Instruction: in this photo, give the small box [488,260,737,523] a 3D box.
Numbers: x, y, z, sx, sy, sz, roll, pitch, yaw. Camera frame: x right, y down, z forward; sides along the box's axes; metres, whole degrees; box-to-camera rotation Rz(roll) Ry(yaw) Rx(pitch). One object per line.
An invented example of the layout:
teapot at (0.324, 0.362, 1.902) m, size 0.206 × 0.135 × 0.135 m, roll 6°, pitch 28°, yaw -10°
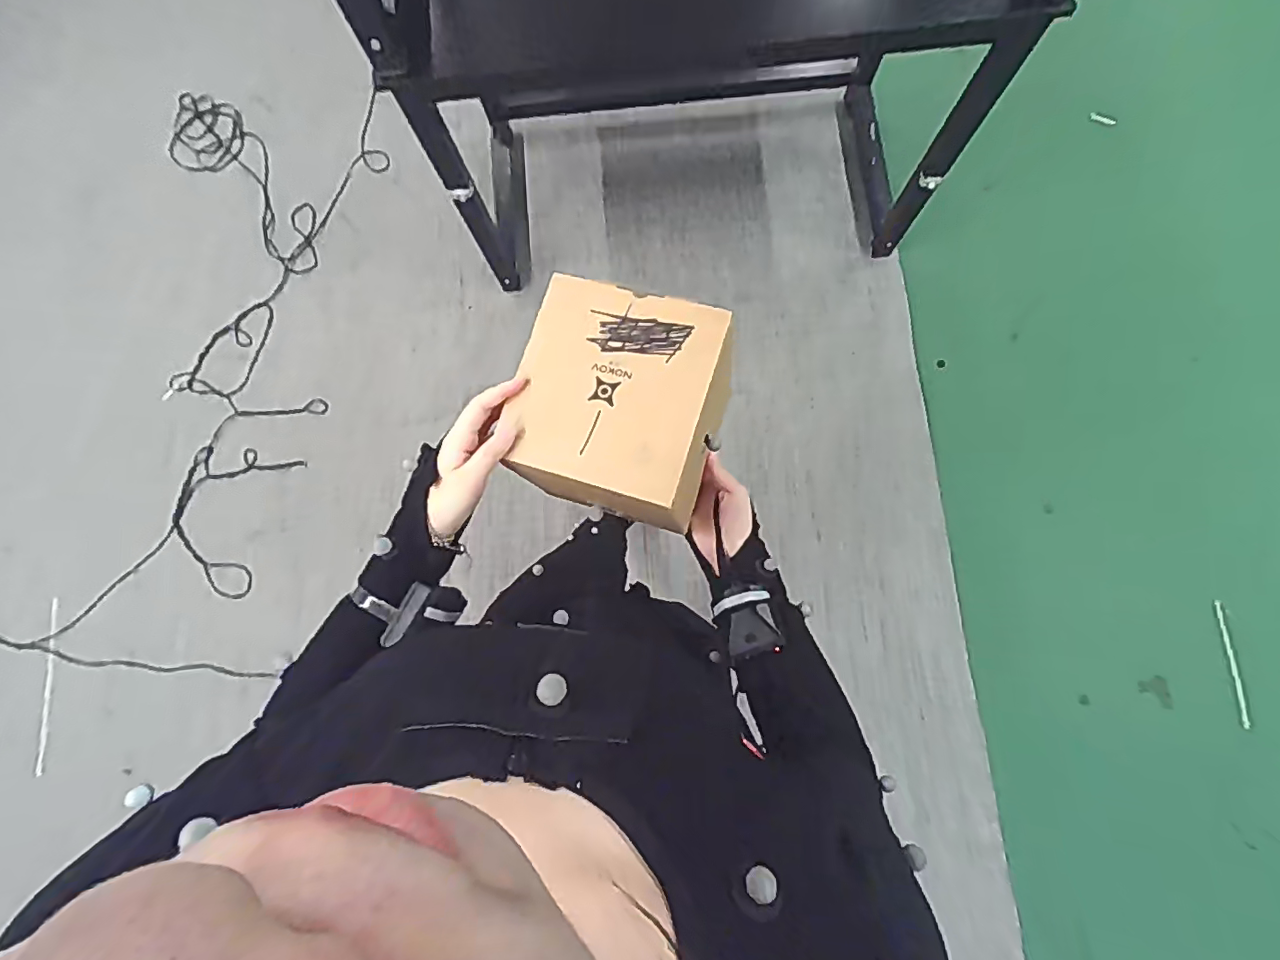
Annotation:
small box at (-0.014, -0.073, 0.520) m, size 0.168 × 0.176 × 0.179 m, roll 17°, pitch 80°, yaw 12°
